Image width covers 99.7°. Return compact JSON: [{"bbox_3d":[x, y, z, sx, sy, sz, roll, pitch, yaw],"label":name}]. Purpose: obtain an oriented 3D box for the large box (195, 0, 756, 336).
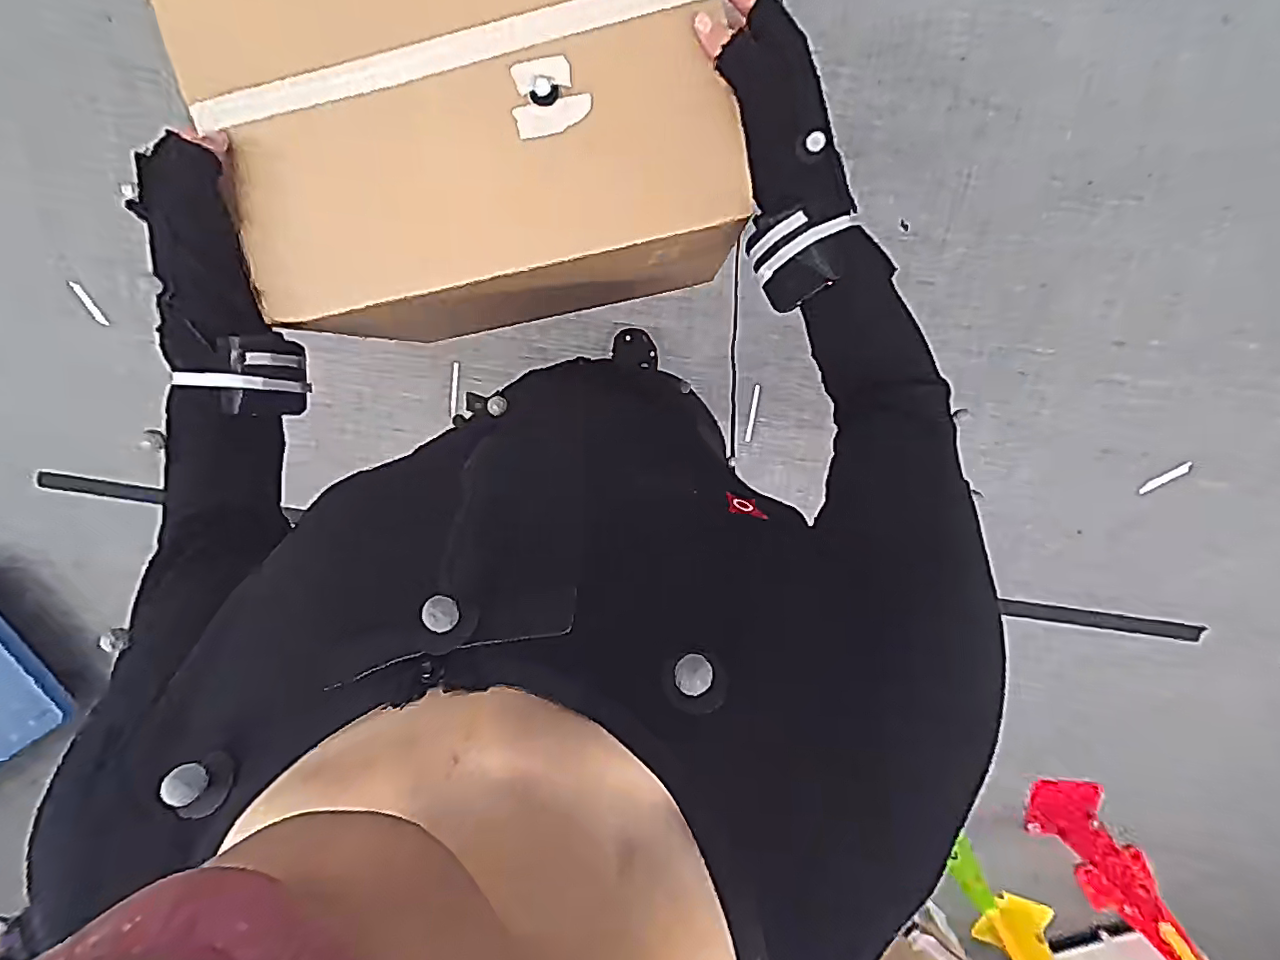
[{"bbox_3d":[-0.128,-0.355,0.560,0.408,0.320,0.320,-11,101,4],"label":"large box"}]
